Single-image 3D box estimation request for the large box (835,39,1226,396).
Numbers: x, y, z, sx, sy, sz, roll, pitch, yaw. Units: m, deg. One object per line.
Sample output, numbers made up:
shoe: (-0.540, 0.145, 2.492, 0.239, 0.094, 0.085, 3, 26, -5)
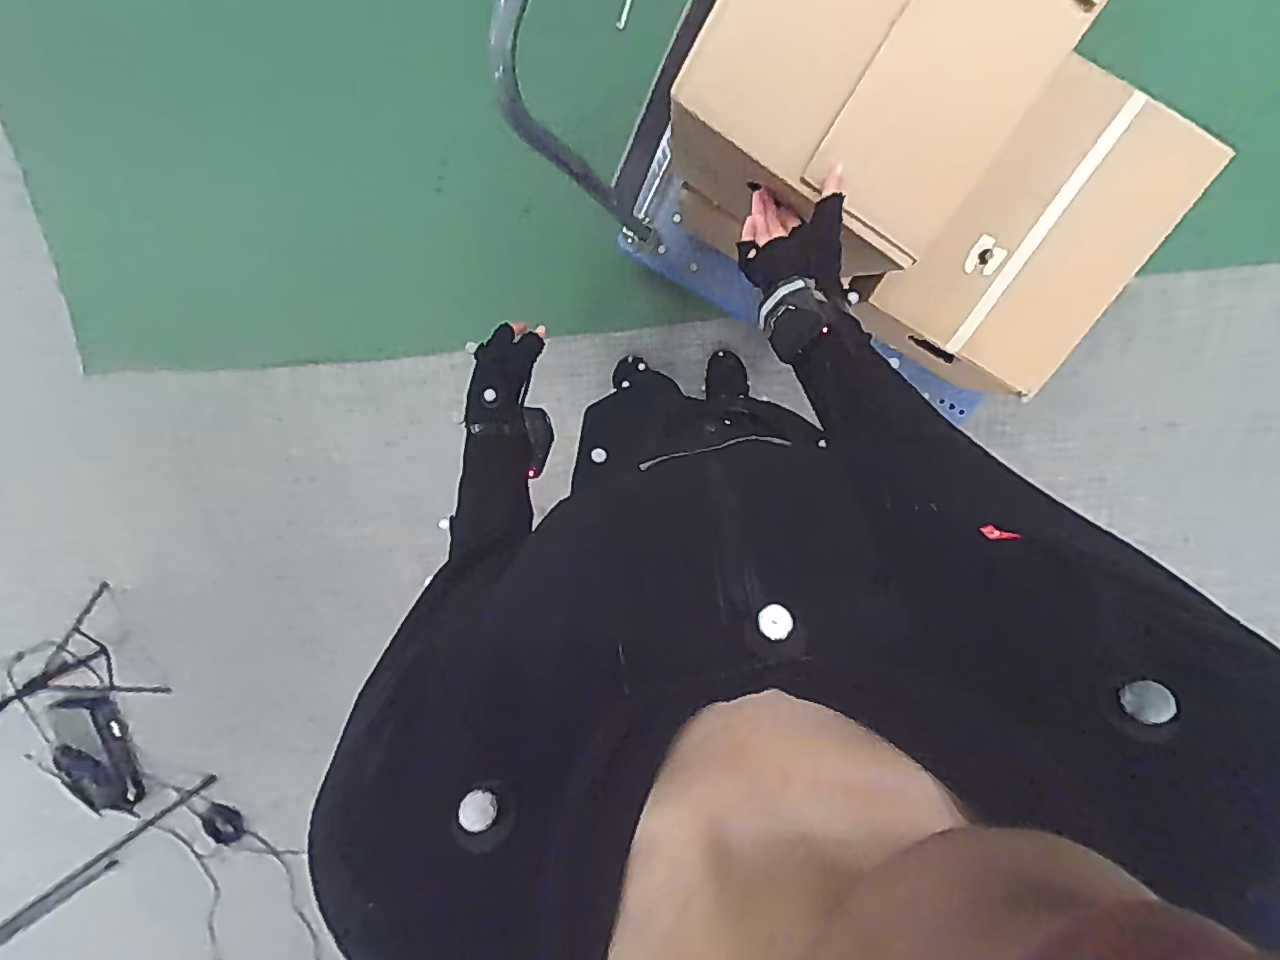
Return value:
large box: (0.612, -0.414, 0.946, 0.320, 0.320, 0.408, 31, 108, 0)
